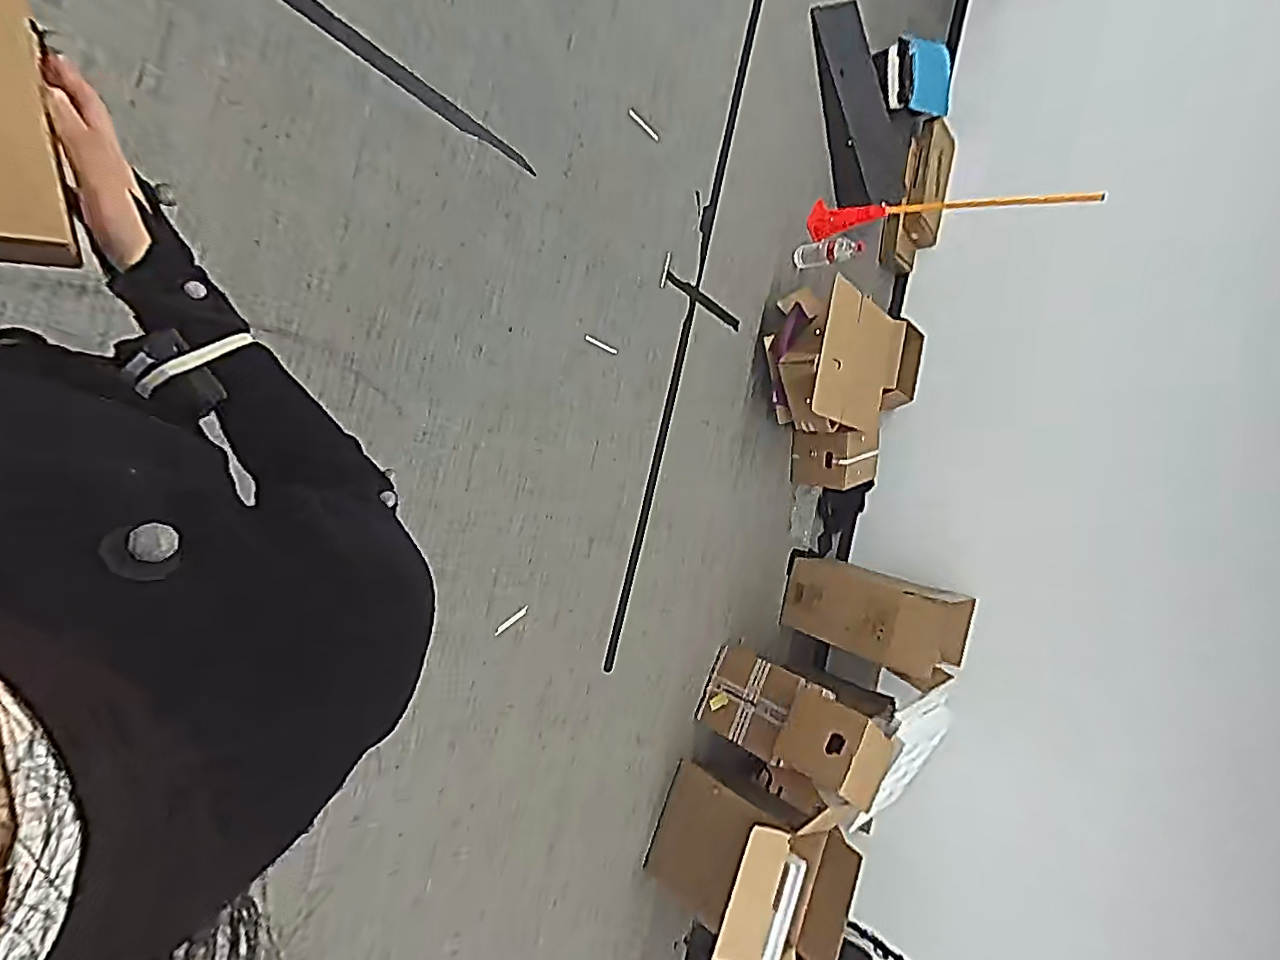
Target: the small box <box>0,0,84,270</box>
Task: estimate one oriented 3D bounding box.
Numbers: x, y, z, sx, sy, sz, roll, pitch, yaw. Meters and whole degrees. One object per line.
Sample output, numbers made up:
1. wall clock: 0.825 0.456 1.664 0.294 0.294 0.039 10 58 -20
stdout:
1. small box: -0.440 -0.223 0.297 0.168 0.176 0.179 -12 109 -42
